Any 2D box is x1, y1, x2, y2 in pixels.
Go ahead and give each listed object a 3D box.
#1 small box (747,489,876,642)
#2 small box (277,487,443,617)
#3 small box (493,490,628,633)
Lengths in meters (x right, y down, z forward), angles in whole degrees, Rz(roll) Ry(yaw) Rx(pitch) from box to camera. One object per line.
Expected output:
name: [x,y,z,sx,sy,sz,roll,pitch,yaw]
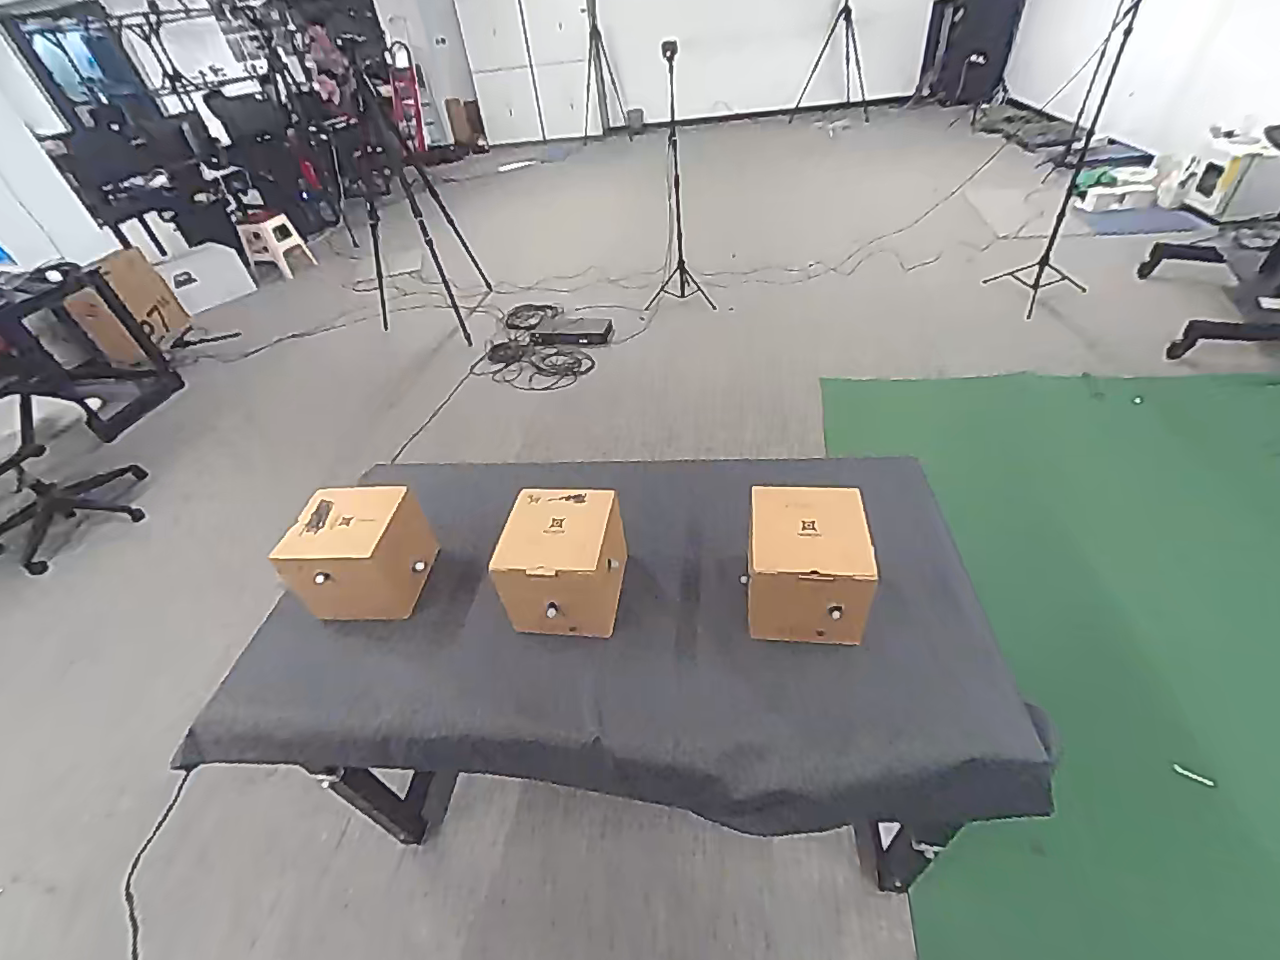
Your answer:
small box: [0.257,0.133,0.846,0.168,0.176,0.179,1,41,9]
small box: [-0.483,0.129,0.964,0.179,0.176,0.168,-1,42,6]
small box: [-0.118,0.136,0.901,0.168,0.176,0.179,1,42,10]
